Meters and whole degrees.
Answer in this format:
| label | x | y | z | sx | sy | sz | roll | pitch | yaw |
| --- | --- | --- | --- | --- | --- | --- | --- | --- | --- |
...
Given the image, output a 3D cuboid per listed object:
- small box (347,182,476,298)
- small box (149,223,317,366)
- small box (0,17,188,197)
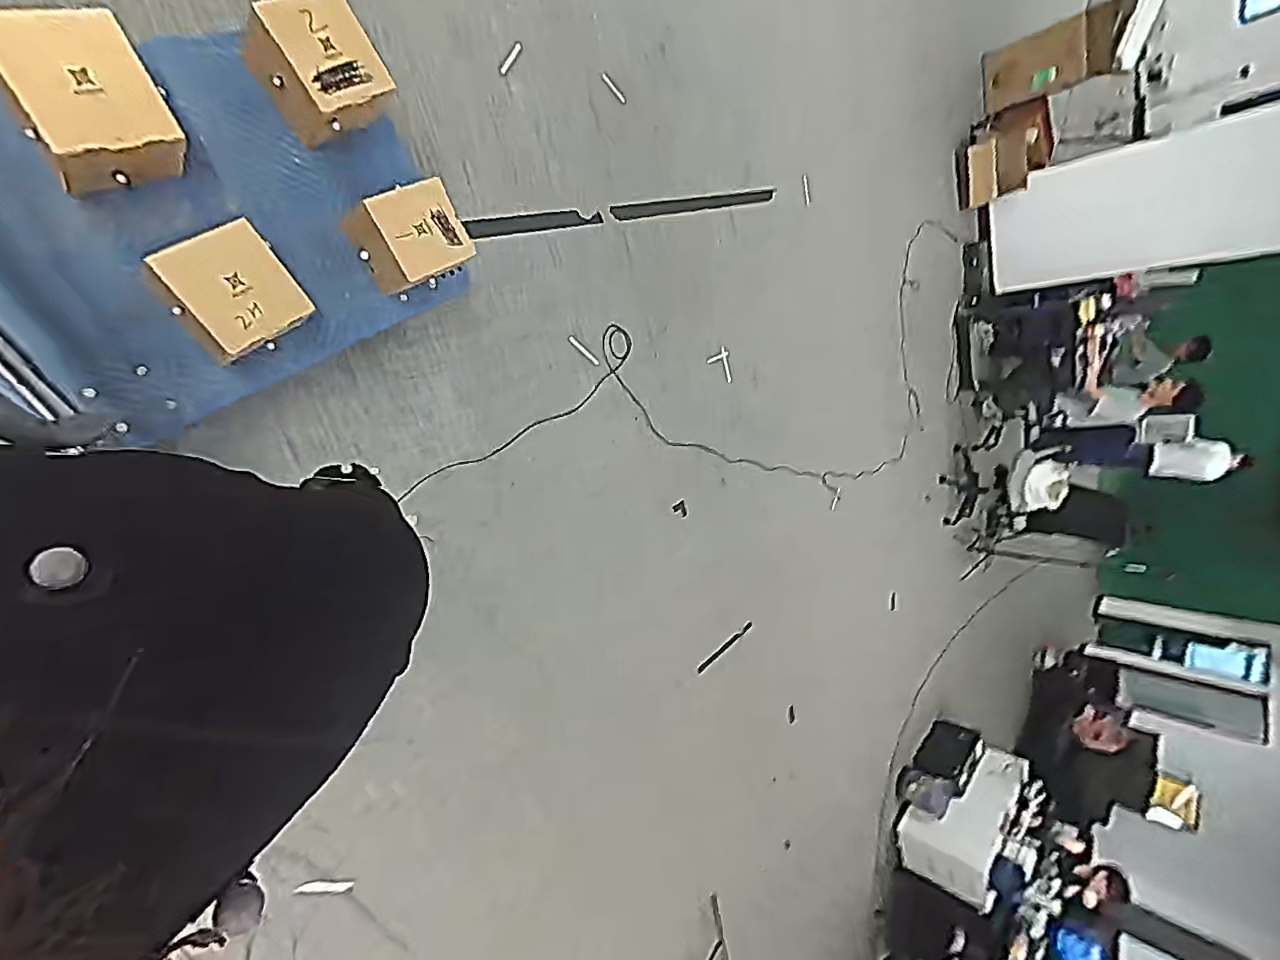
| label | x | y | z | sx | sy | sz | roll | pitch | yaw |
| --- | --- | --- | --- | --- | --- | --- | --- | --- | --- |
| small box | -0.498 | -0.515 | 1.175 | 0.179 | 0.176 | 0.168 | -41 | 118 | -31 |
| small box | -0.734 | -0.326 | 0.978 | 0.168 | 0.176 | 0.179 | -46 | 121 | -29 |
| small box | -0.861 | -0.576 | 0.847 | 0.168 | 0.176 | 0.179 | -38 | 119 | -34 |
